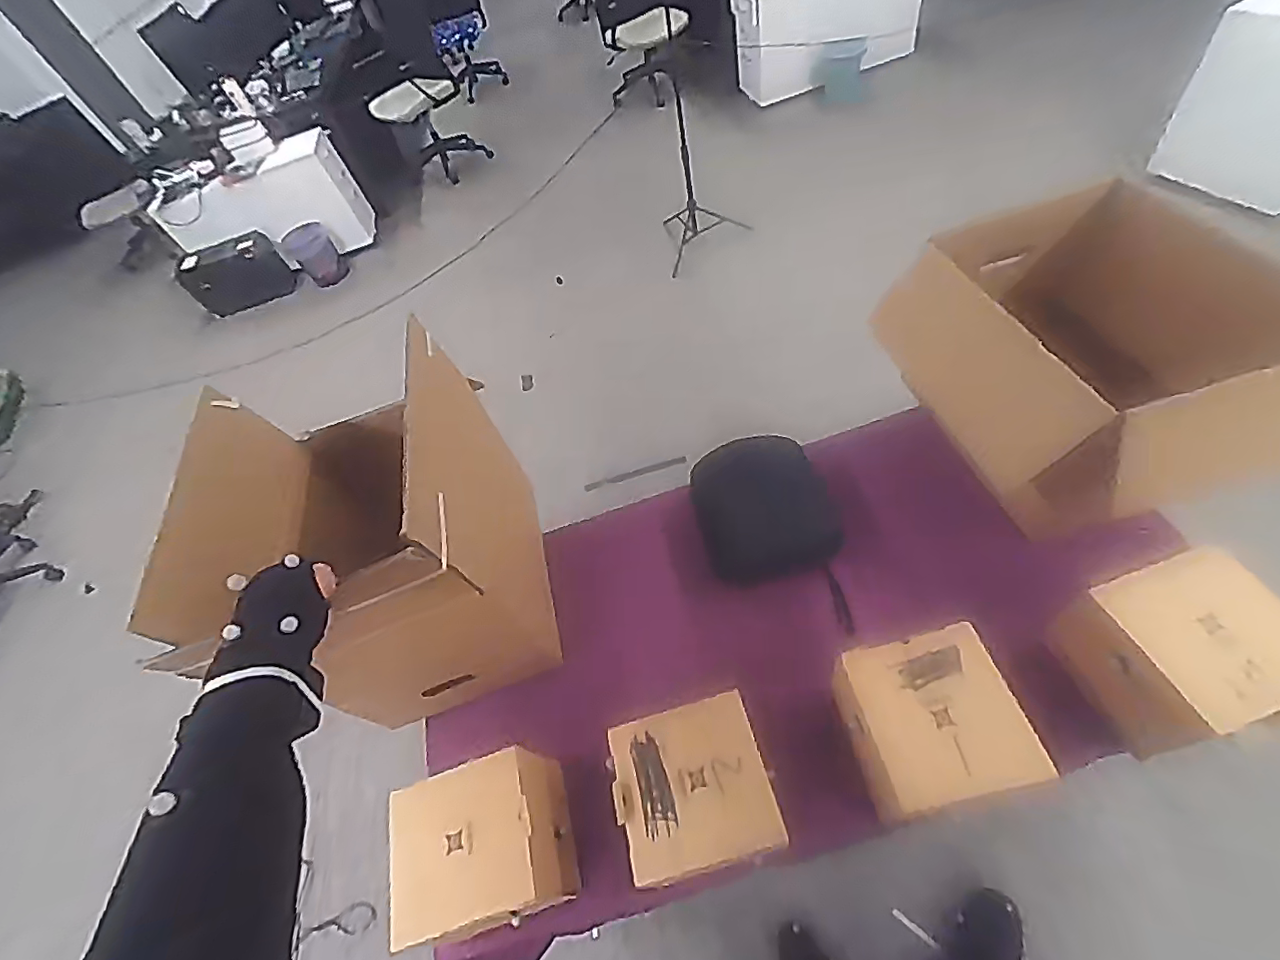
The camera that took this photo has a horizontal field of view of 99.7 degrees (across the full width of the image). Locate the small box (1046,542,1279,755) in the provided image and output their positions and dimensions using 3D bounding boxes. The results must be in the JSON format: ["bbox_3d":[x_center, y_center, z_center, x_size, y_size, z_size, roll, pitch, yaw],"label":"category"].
[{"bbox_3d":[0.657,0.211,0.665,0.168,0.176,0.179,-21,53,1],"label":"small box"}]

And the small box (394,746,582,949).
[{"bbox_3d":[-0.195,0.478,0.710,0.179,0.176,0.168,-21,53,-1],"label":"small box"}]

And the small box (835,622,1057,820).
[{"bbox_3d":[0.359,0.307,0.681,0.168,0.176,0.179,-16,53,4],"label":"small box"}]
